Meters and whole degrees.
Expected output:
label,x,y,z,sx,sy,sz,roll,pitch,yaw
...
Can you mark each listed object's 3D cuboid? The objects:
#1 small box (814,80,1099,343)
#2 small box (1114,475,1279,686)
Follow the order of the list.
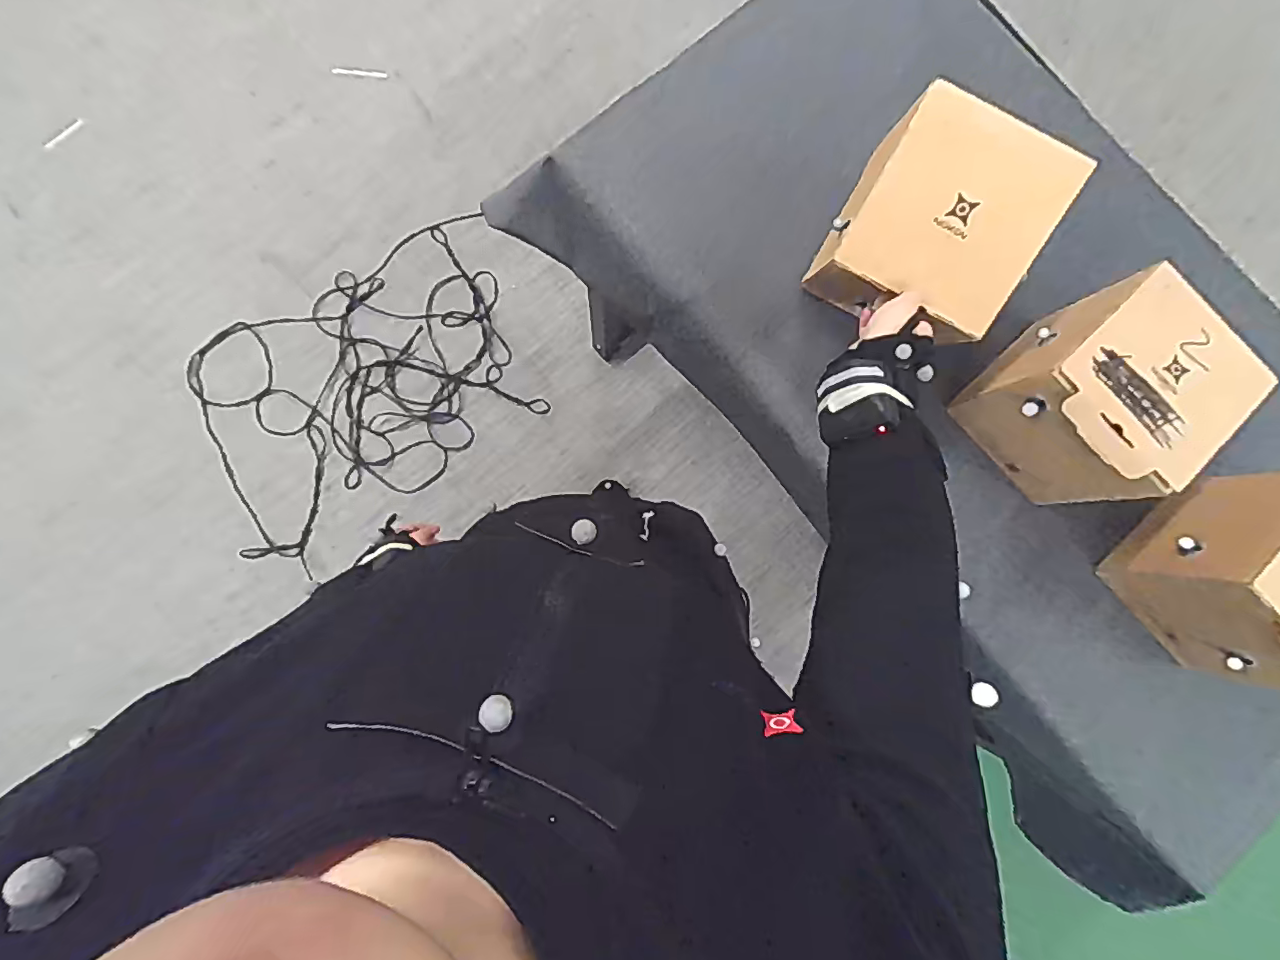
label,x,y,z,sx,sy,sz,roll,pitch,yaw
small box,0.309,-0.263,0.578,0.168,0.176,0.179,28,104,0
small box,0.689,0.112,0.597,0.179,0.176,0.168,-42,90,-7
